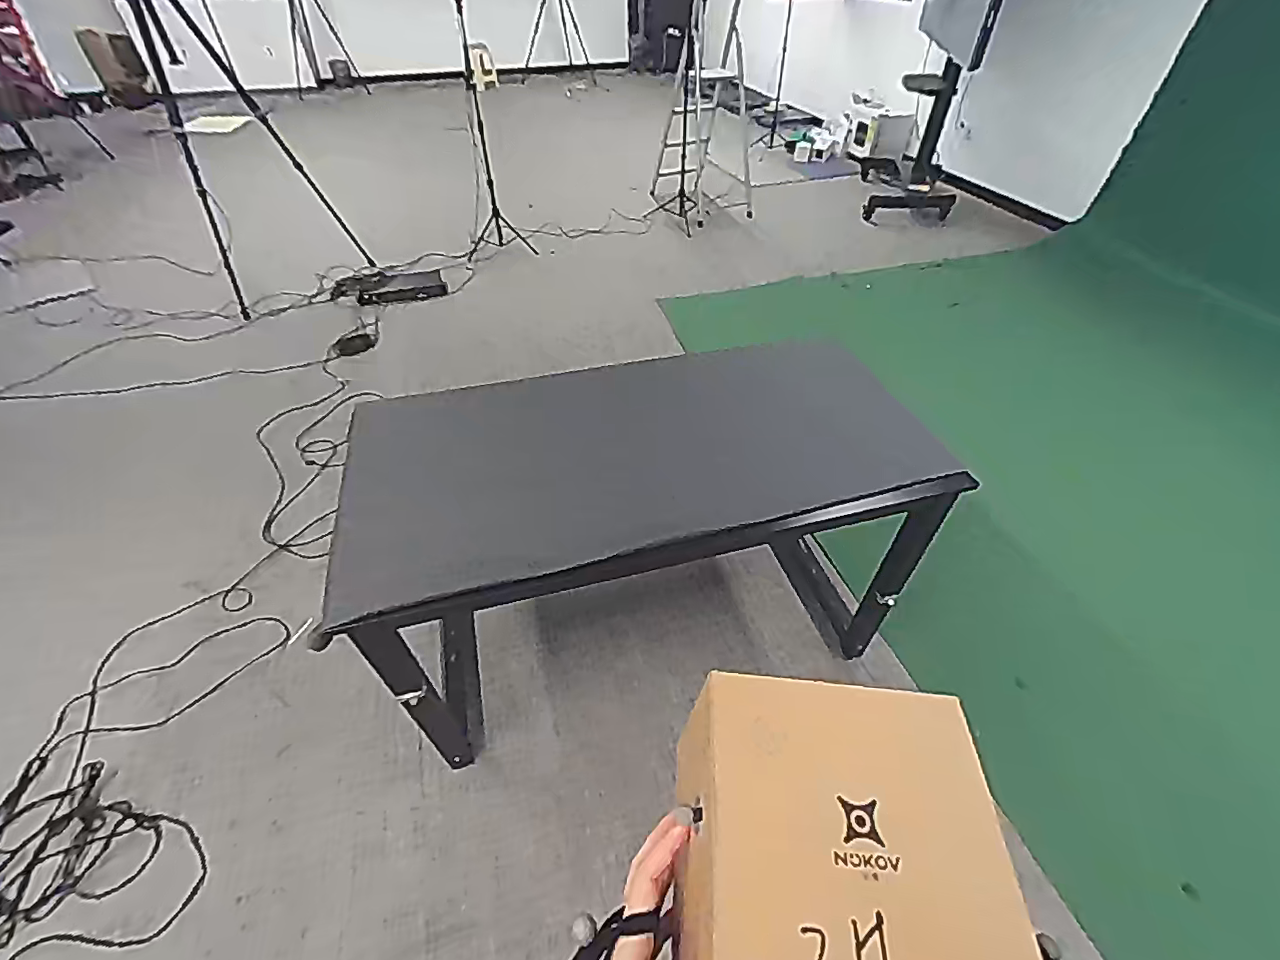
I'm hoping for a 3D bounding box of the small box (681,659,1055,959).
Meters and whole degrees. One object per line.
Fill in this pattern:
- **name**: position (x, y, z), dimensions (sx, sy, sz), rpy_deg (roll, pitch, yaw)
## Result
- **small box**: position (0.120, 0.244, 0.359), dimensions (0.168, 0.176, 0.179), rpy_deg (6, 48, 0)
